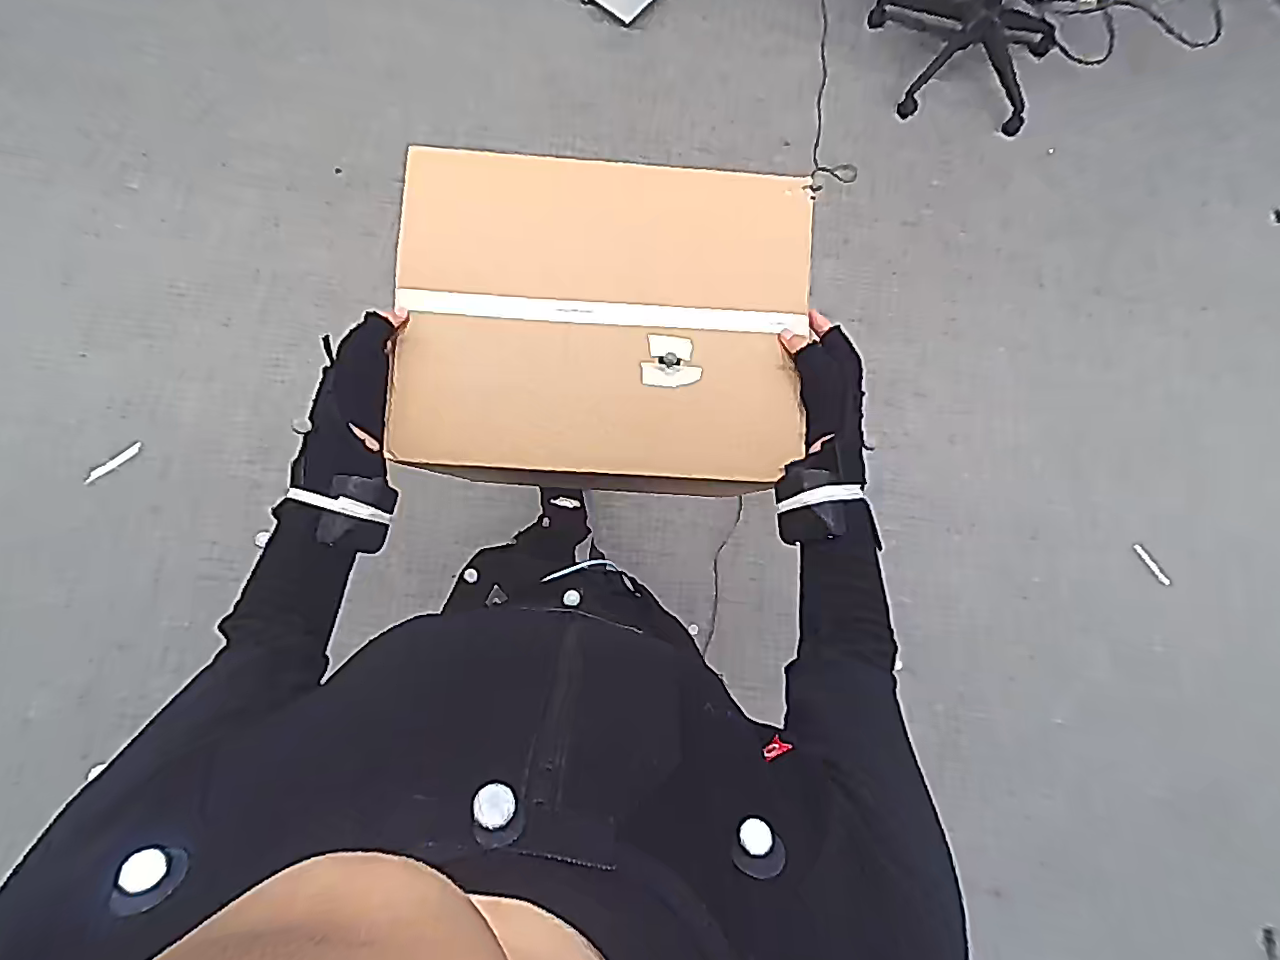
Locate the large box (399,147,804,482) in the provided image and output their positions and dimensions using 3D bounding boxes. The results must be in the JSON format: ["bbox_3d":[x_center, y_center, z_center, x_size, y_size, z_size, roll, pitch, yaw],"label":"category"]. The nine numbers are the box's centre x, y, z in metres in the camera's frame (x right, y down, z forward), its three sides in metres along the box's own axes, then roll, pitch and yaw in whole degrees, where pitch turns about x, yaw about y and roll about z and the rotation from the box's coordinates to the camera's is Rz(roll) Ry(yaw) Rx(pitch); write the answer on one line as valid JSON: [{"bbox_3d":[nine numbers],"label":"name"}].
[{"bbox_3d":[-0.042,-0.167,0.695,0.408,0.320,0.320,4,87,-3],"label":"large box"}]
